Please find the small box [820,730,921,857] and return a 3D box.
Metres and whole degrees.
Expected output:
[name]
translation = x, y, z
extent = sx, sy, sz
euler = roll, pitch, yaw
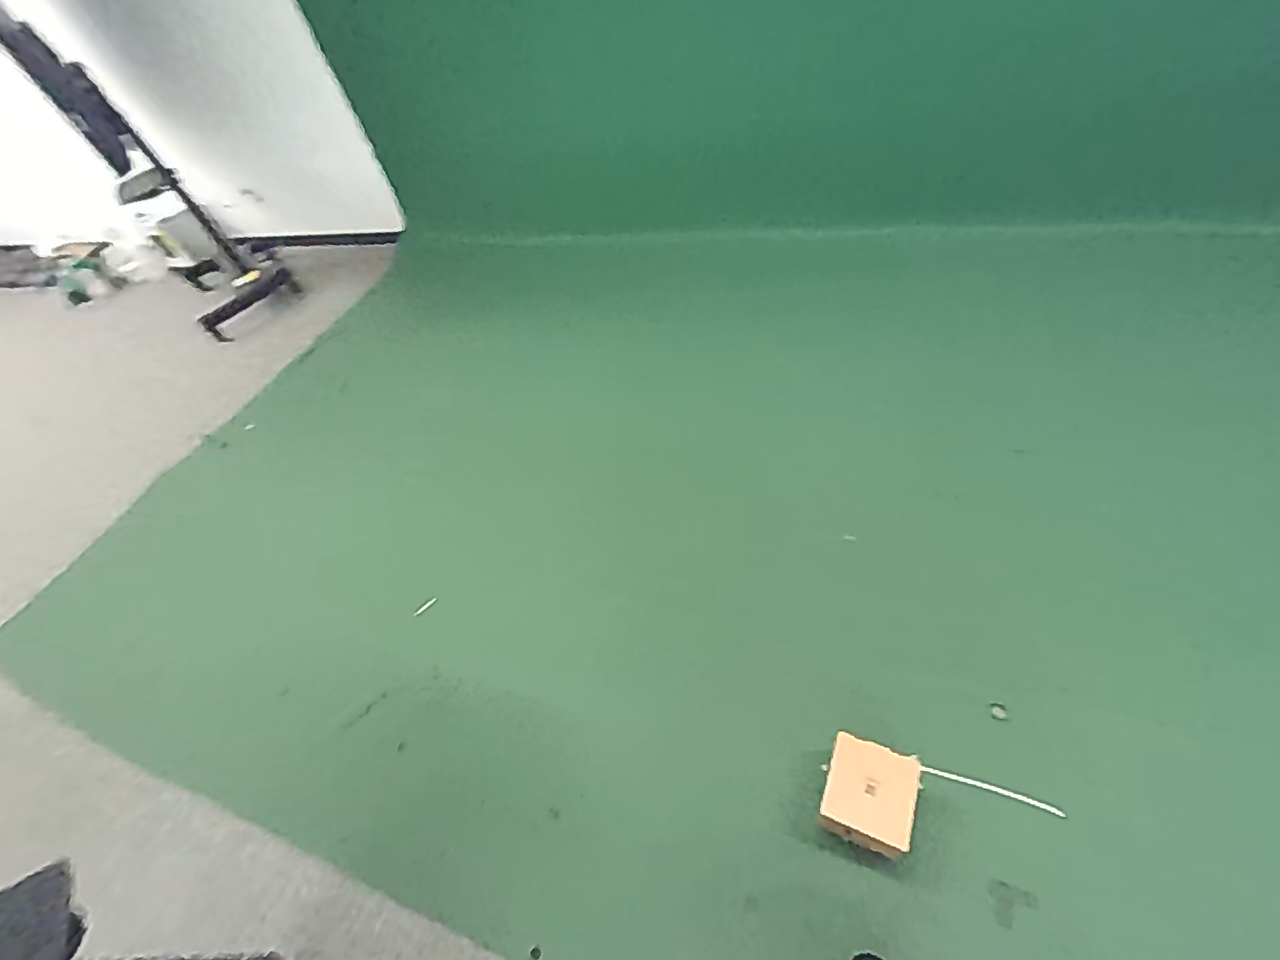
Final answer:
[small box]
translation = 0.493, 0.680, 1.170
extent = 0.168, 0.176, 0.179
euler = 13, 55, 25
